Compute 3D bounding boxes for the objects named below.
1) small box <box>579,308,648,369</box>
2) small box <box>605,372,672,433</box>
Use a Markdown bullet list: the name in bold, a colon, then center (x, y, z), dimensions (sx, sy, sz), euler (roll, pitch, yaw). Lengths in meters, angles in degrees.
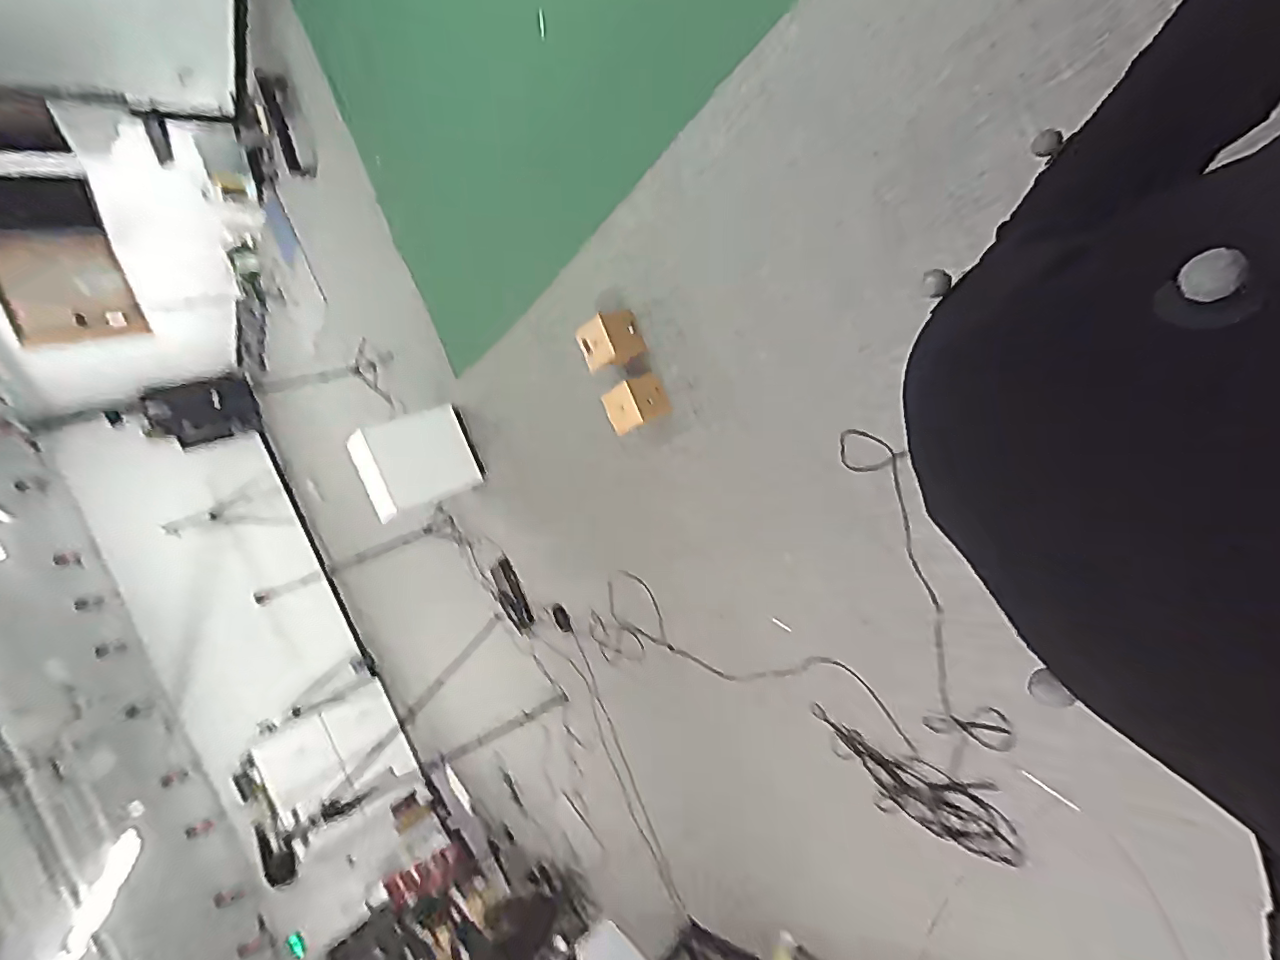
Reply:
- **small box**: center (-0.099, -0.548, 2.091), dimensions (0.179, 0.176, 0.168), euler (-22, 92, 50)
- **small box**: center (0.001, -0.305, 2.103), dimensions (0.179, 0.176, 0.168), euler (-23, 91, 51)
